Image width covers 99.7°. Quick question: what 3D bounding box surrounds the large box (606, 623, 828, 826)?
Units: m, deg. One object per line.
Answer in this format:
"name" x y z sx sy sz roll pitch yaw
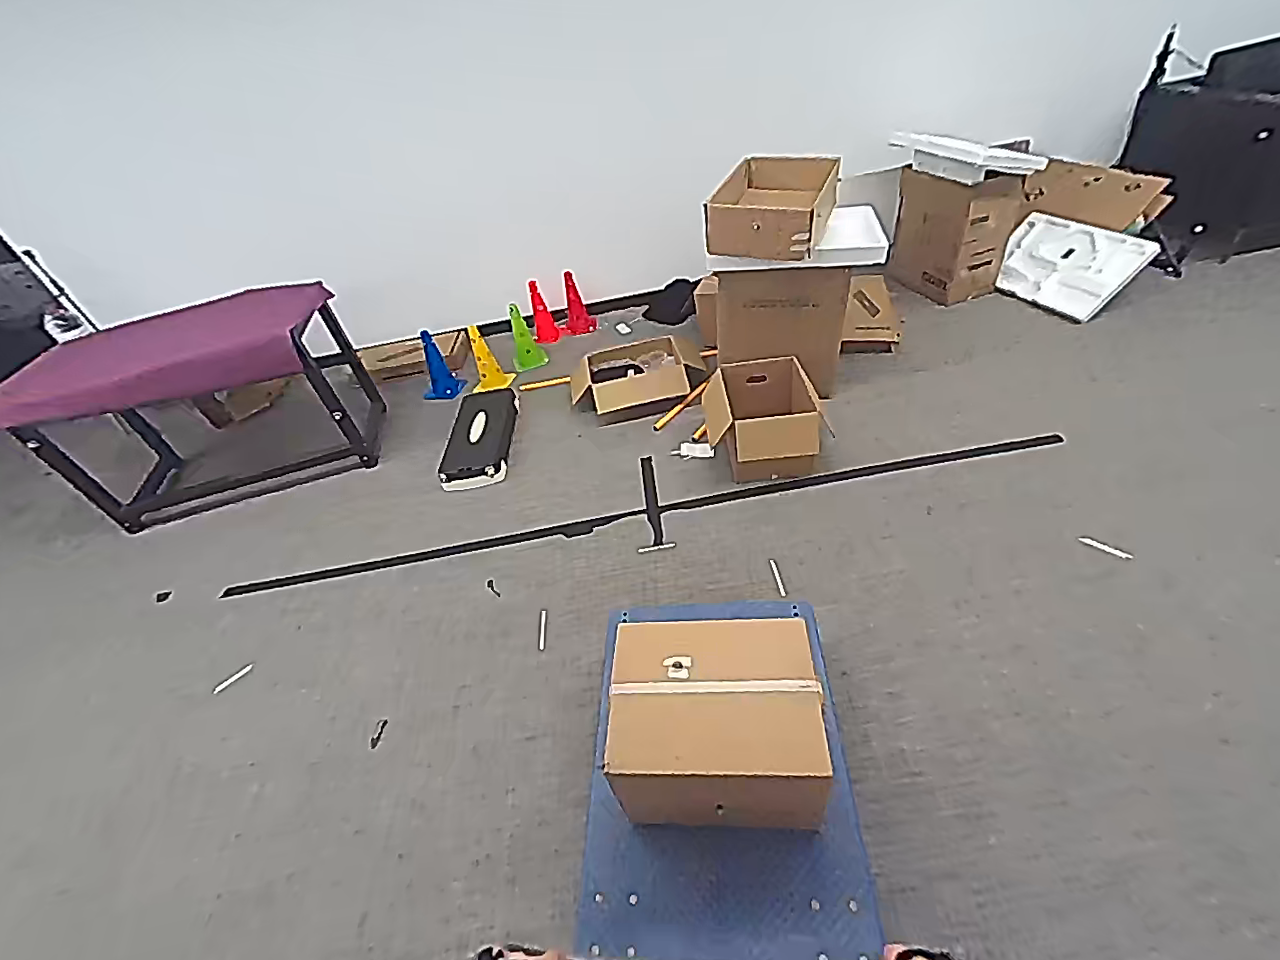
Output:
"large box" 0.164 0.536 1.174 0.408 0.320 0.320 -5 41 9
